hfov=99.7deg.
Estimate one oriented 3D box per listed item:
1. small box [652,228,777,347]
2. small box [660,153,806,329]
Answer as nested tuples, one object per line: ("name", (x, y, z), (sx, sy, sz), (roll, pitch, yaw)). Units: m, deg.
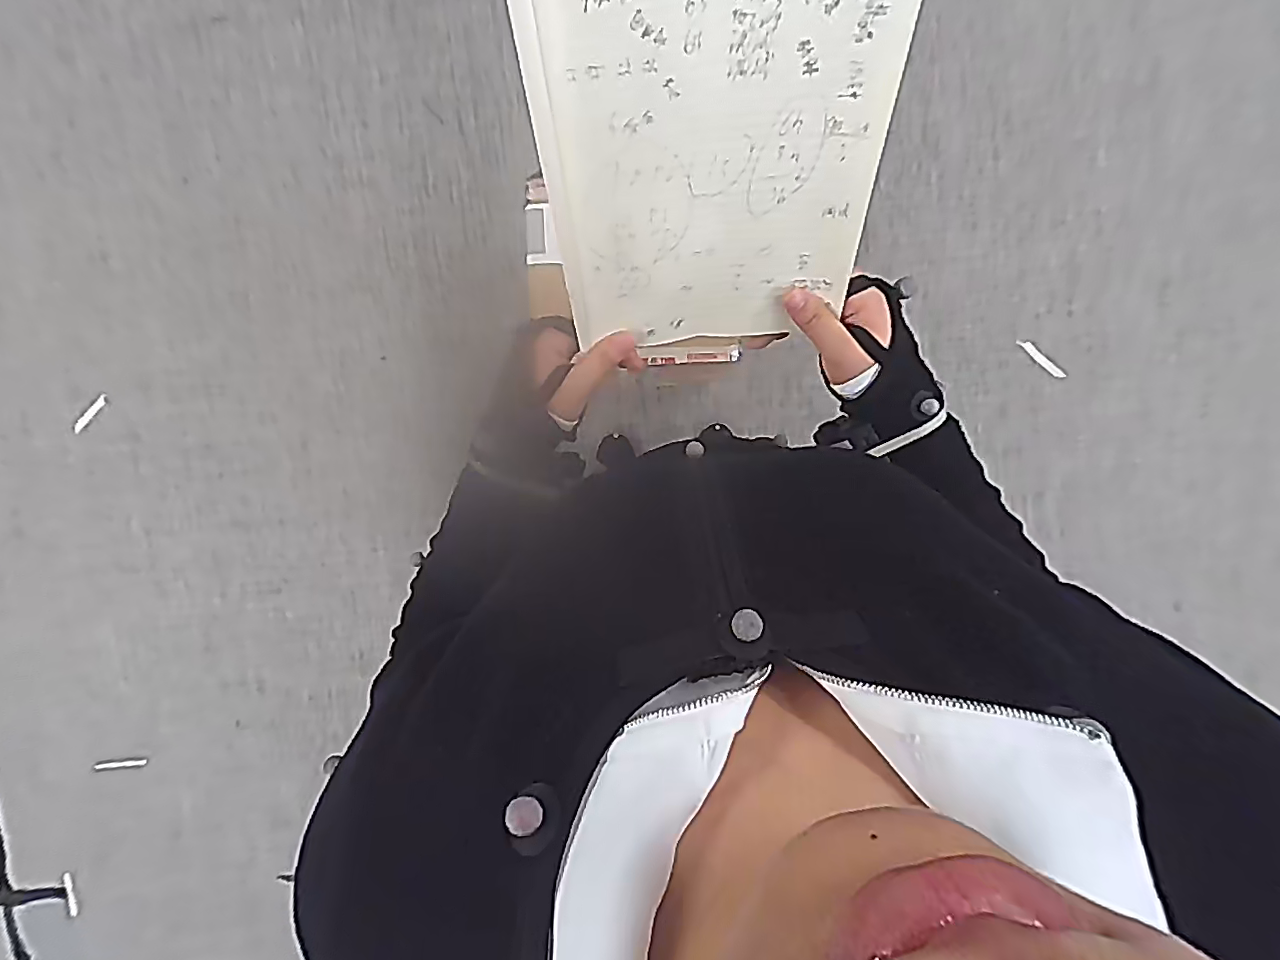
("small box", (0.119, -0.328, 0.918), (0.179, 0.176, 0.168), (-8, 96, 0))
("small box", (0.120, -0.321, 0.754), (0.168, 0.176, 0.179), (-5, 95, -1))
